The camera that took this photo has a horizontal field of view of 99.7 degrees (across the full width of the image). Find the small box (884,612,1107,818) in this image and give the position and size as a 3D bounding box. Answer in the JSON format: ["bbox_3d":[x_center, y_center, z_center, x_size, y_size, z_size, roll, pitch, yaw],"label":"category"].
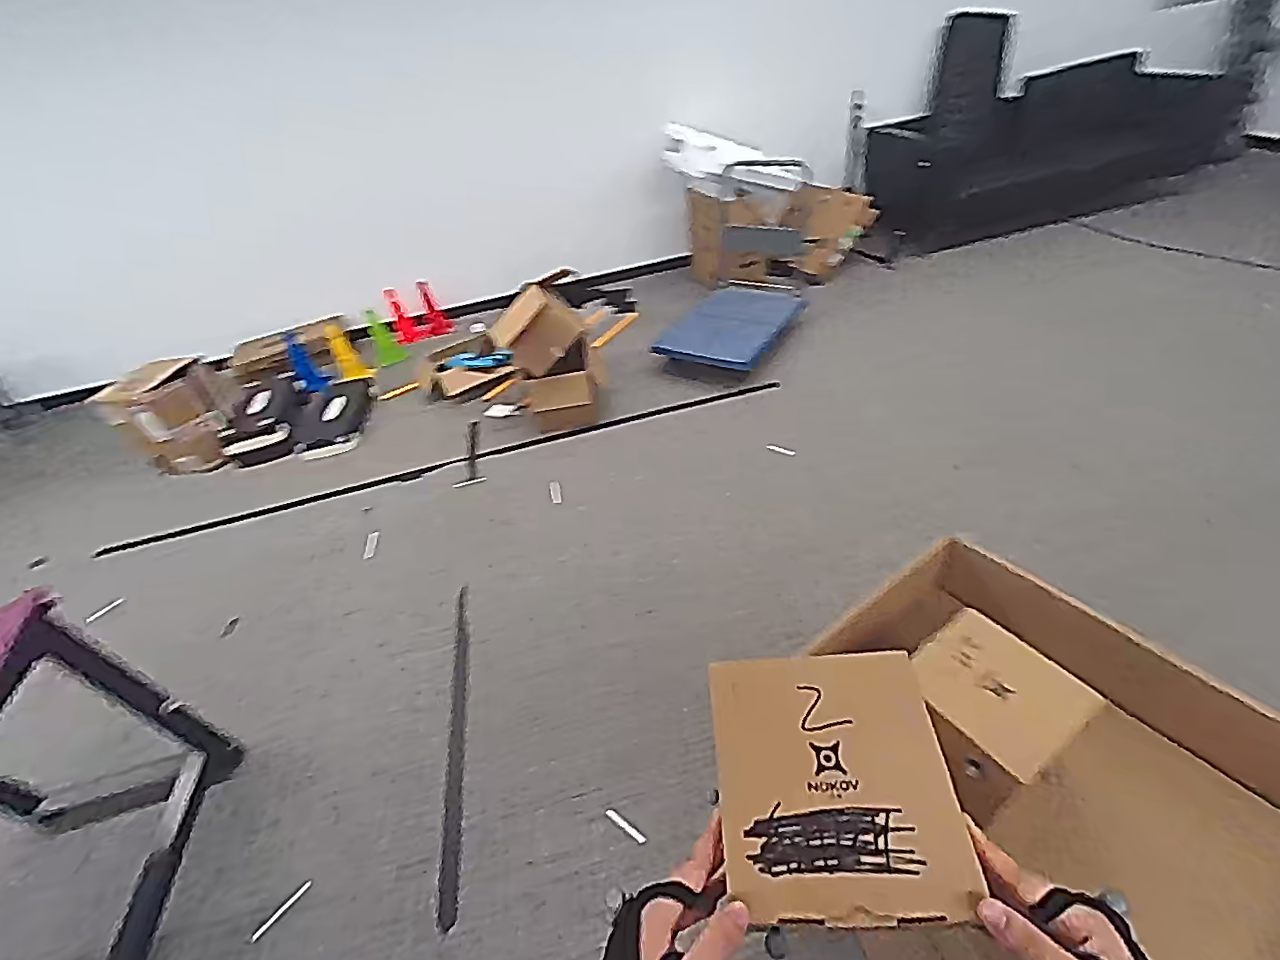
[{"bbox_3d":[0.465,0.324,0.737,0.168,0.176,0.179,-28,43,-19],"label":"small box"}]
